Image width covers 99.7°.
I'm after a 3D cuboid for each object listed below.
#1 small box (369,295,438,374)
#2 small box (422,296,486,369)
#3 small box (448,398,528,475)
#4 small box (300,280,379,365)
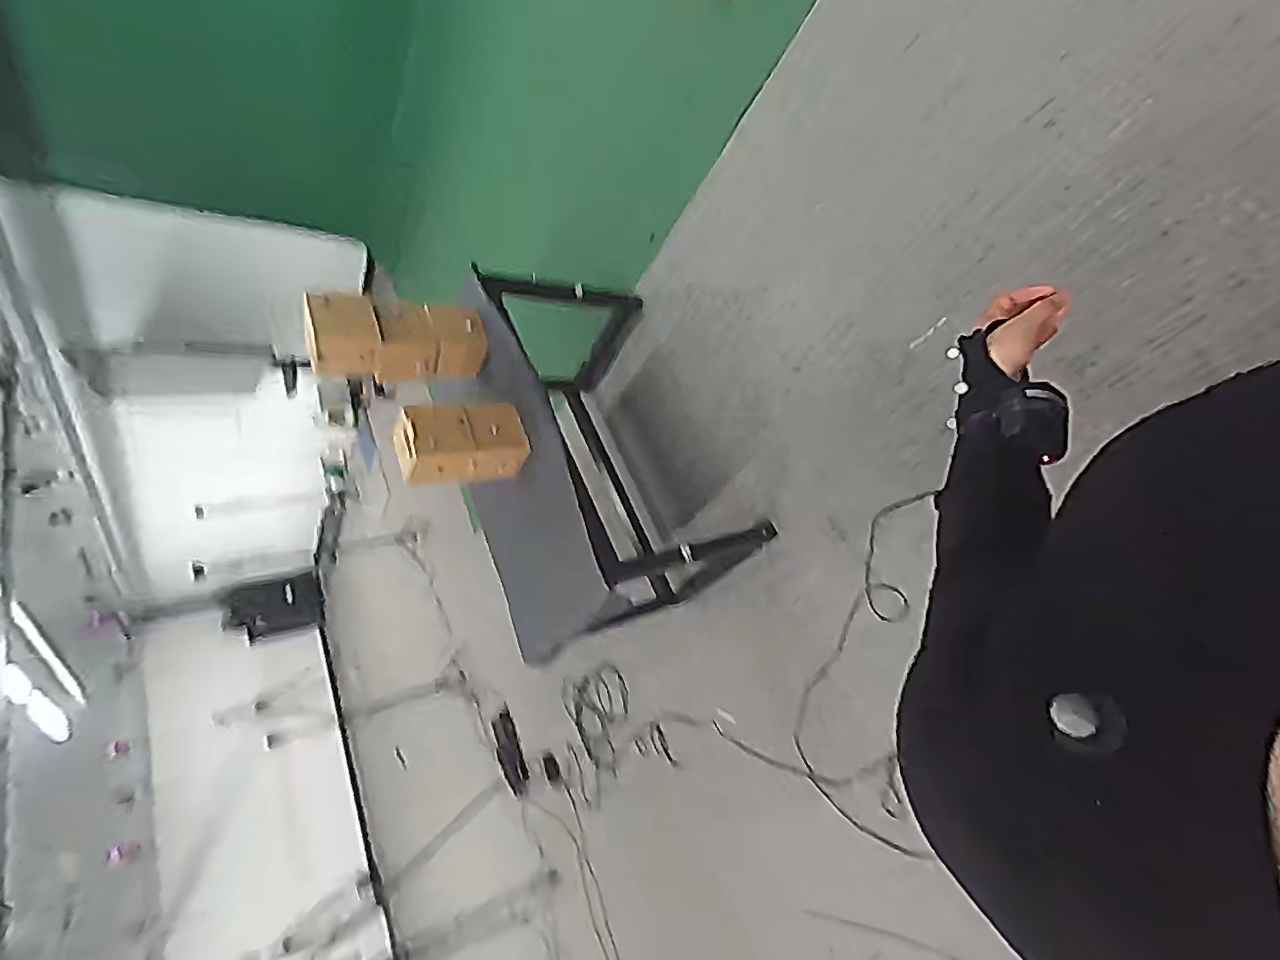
[{"bbox_3d":[-0.749,-0.449,1.682,0.179,0.176,0.168,61,140,21],"label":"small box"},{"bbox_3d":[-0.627,-0.479,1.784,0.179,0.176,0.168,-41,66,47],"label":"small box"},{"bbox_3d":[-0.461,-0.138,1.644,0.168,0.176,0.179,-45,63,45],"label":"small box"},{"bbox_3d":[-0.874,-0.450,1.570,0.168,0.176,0.179,-46,62,48],"label":"small box"}]
